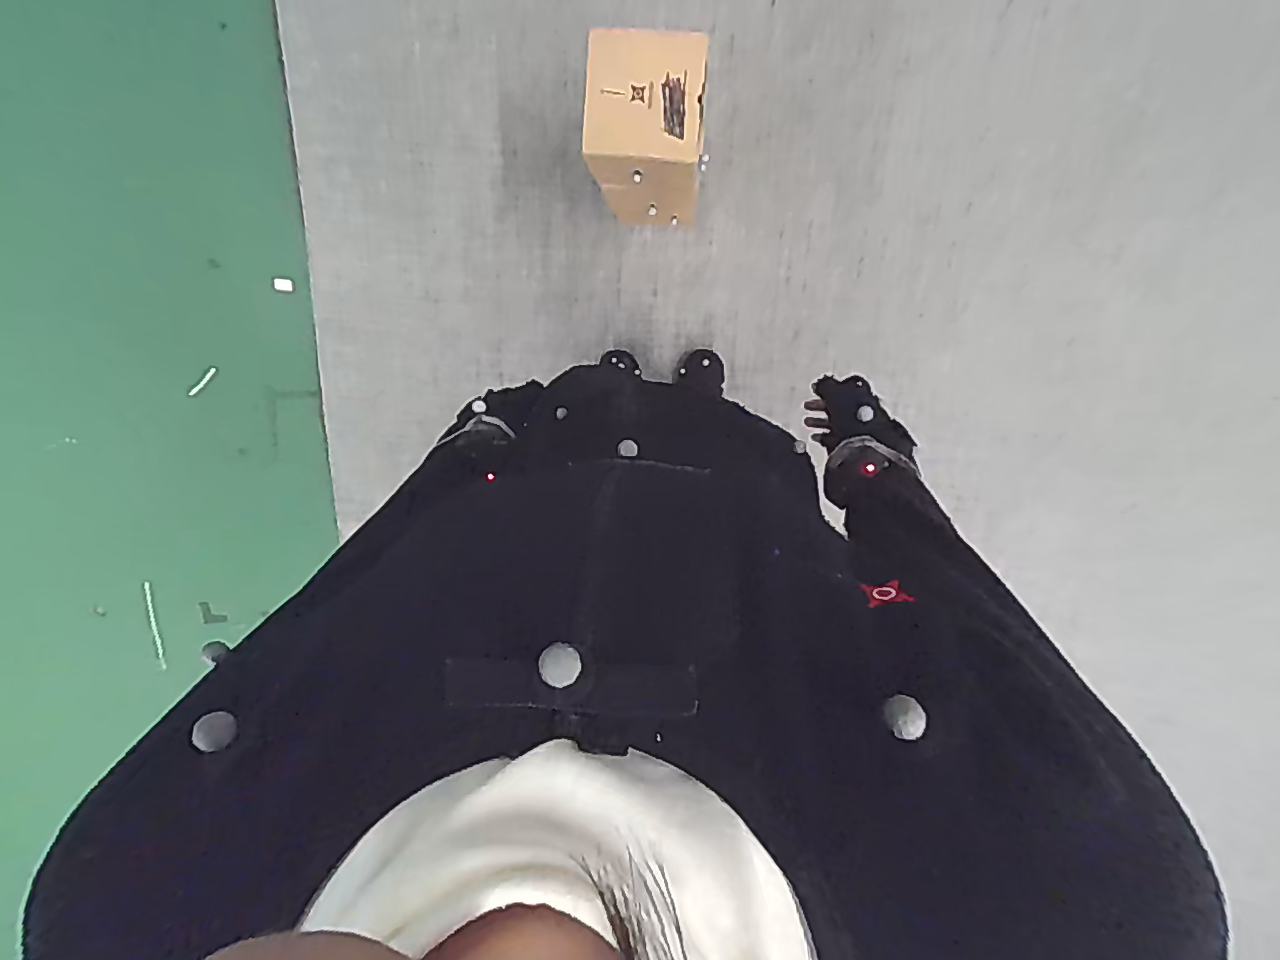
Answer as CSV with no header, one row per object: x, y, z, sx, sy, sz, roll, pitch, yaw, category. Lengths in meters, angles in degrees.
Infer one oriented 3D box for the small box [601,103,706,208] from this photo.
0.027,-0.626,1.026,0.179,0.176,0.168,5,105,4,small box

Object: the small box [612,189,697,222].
0.039,-0.672,1.183,0.179,0.176,0.168,4,105,6,small box

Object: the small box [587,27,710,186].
0.014,-0.585,0.868,0.179,0.176,0.168,3,105,3,small box
